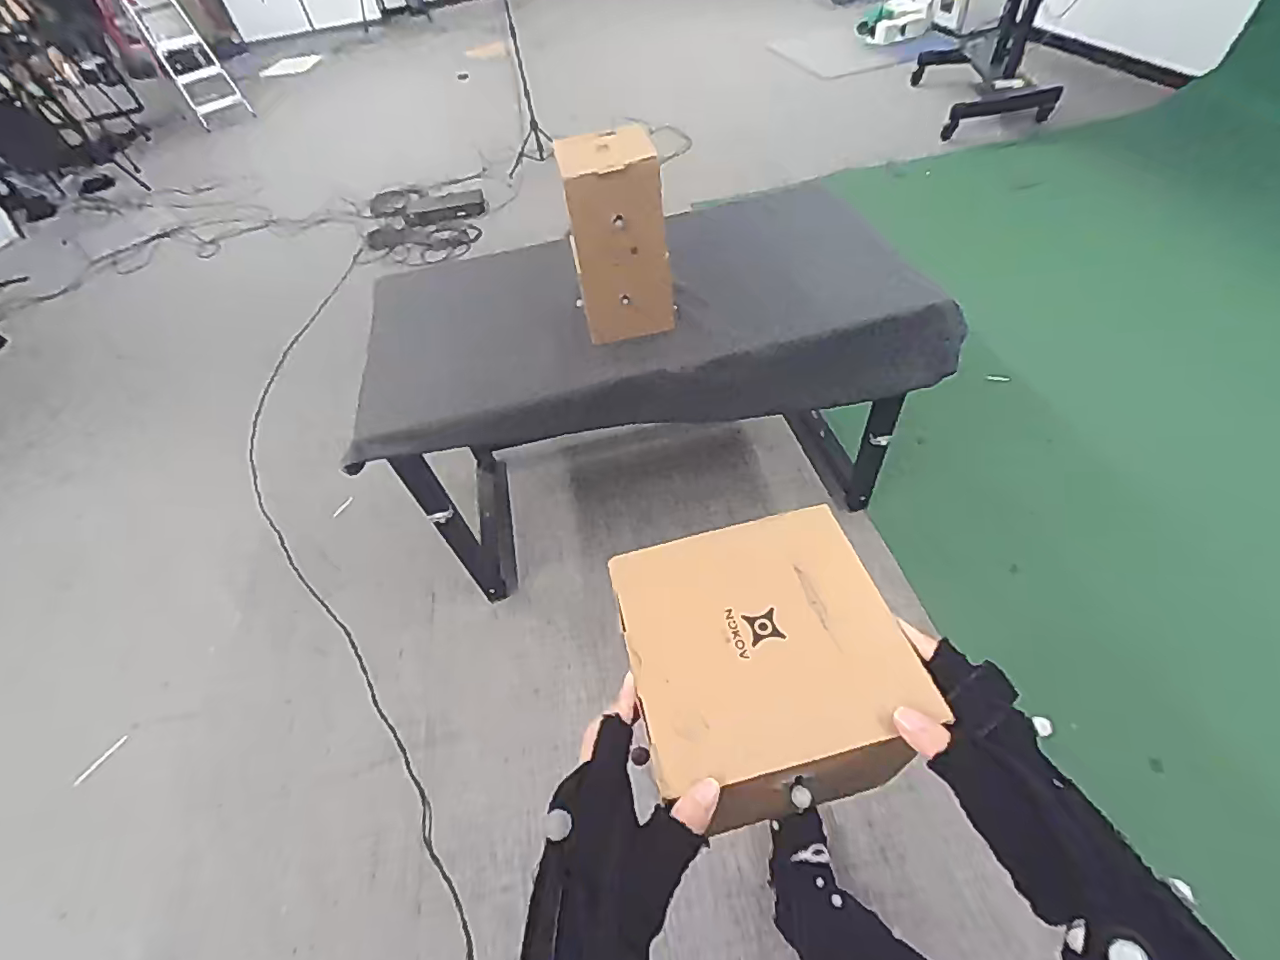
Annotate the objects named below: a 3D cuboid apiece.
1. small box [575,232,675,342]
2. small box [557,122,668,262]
[{"bbox_3d":[-0.027,-0.410,1.113,0.179,0.176,0.168,-12,50,-1],"label":"small box"},{"bbox_3d":[-0.047,-0.518,0.992,0.168,0.176,0.179,-13,51,-2],"label":"small box"}]
